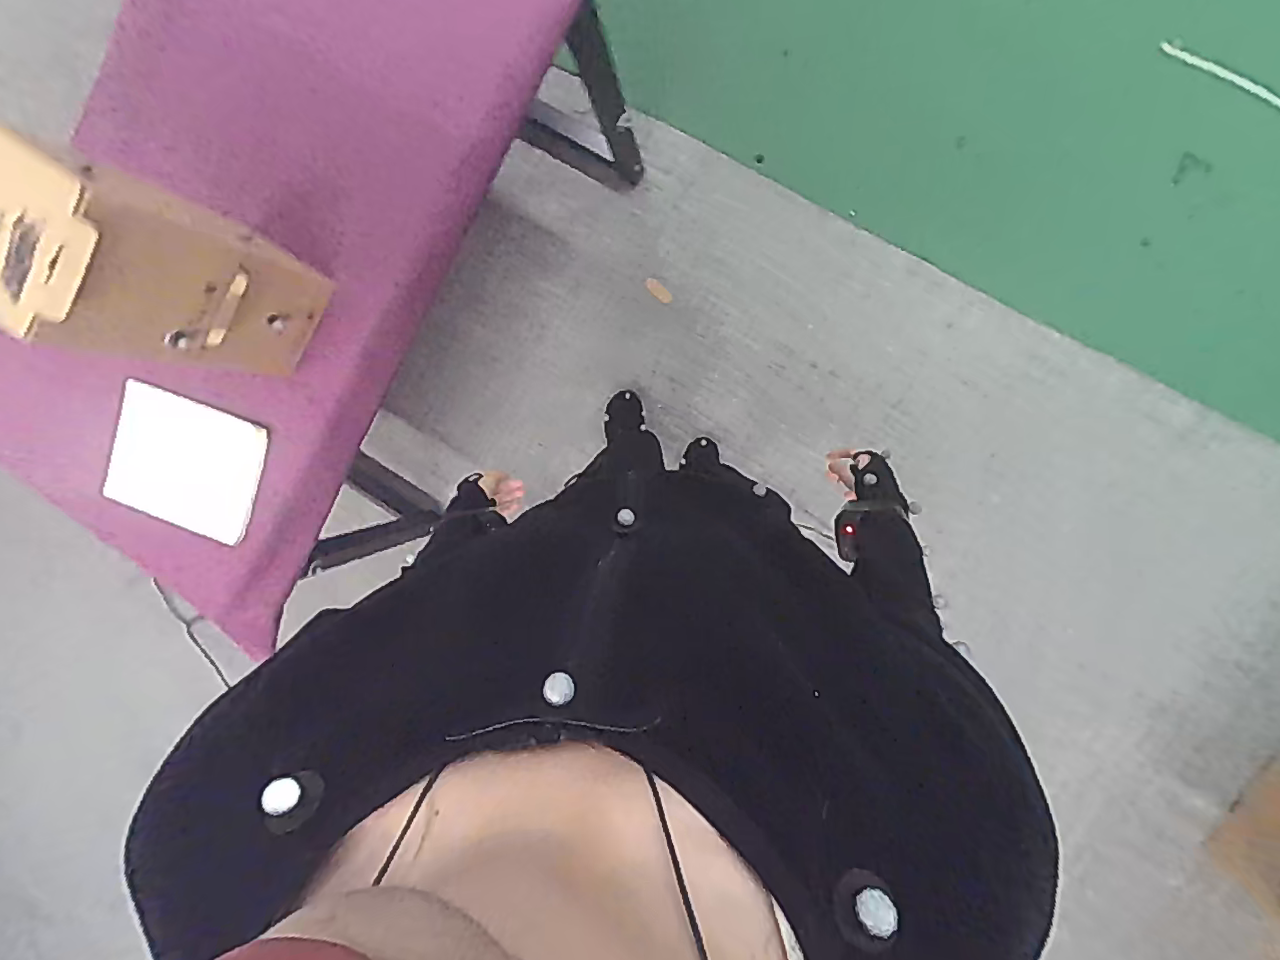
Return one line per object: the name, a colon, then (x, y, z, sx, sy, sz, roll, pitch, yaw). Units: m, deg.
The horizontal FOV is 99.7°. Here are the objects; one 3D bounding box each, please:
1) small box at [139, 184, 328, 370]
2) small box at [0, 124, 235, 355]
small box: (-0.592, -0.271, 0.767, 0.179, 0.176, 0.168, 32, 98, 4)
small box: (-0.612, -0.255, 0.603, 0.179, 0.176, 0.168, 33, 98, 6)
